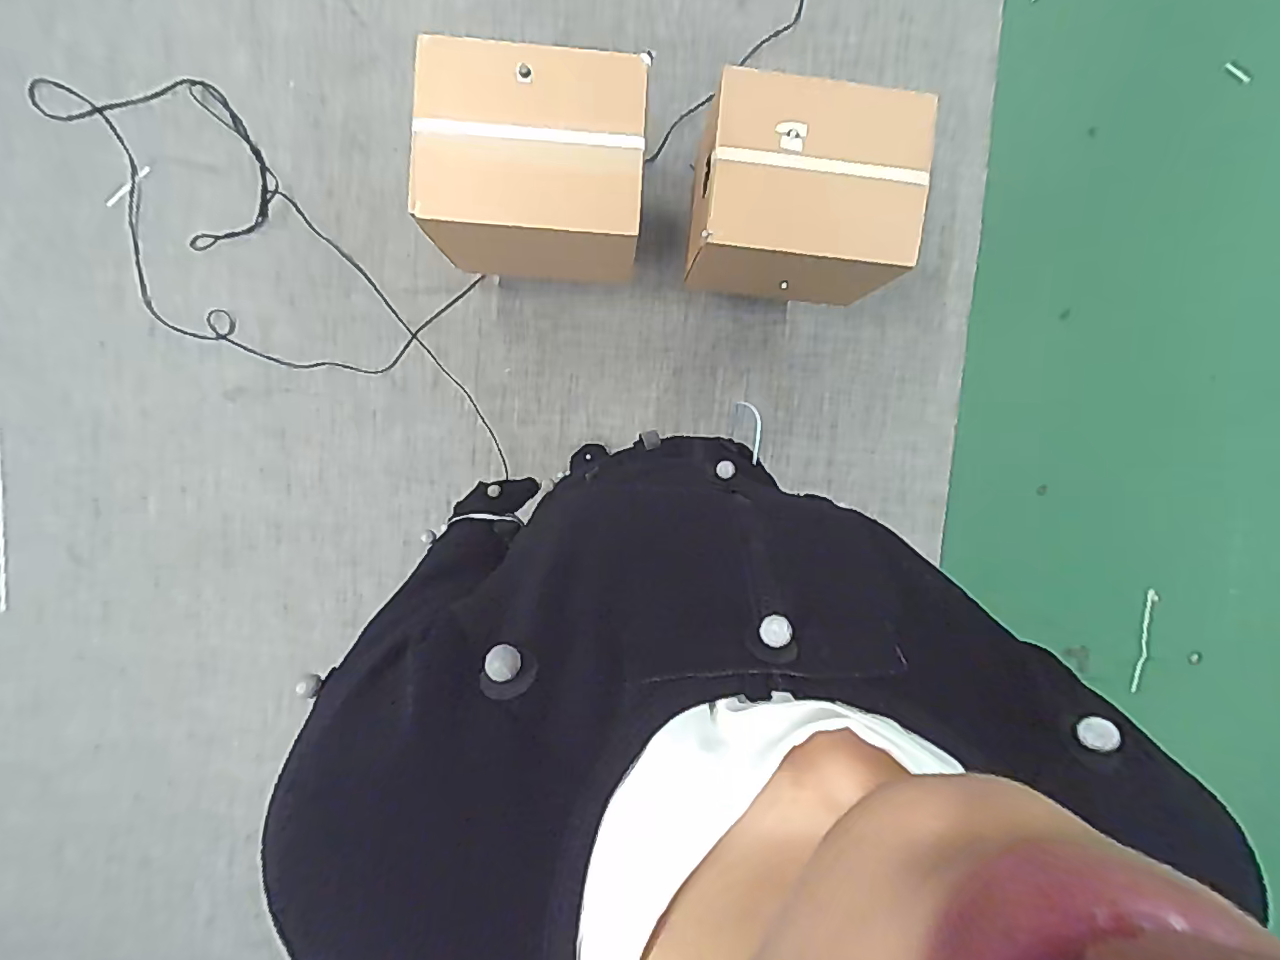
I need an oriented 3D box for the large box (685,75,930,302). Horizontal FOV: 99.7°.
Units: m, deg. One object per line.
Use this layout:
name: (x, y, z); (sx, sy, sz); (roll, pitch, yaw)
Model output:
large box: (0.326, -0.585, 1.156); (0.408, 0.320, 0.320); (6, 94, -3)
